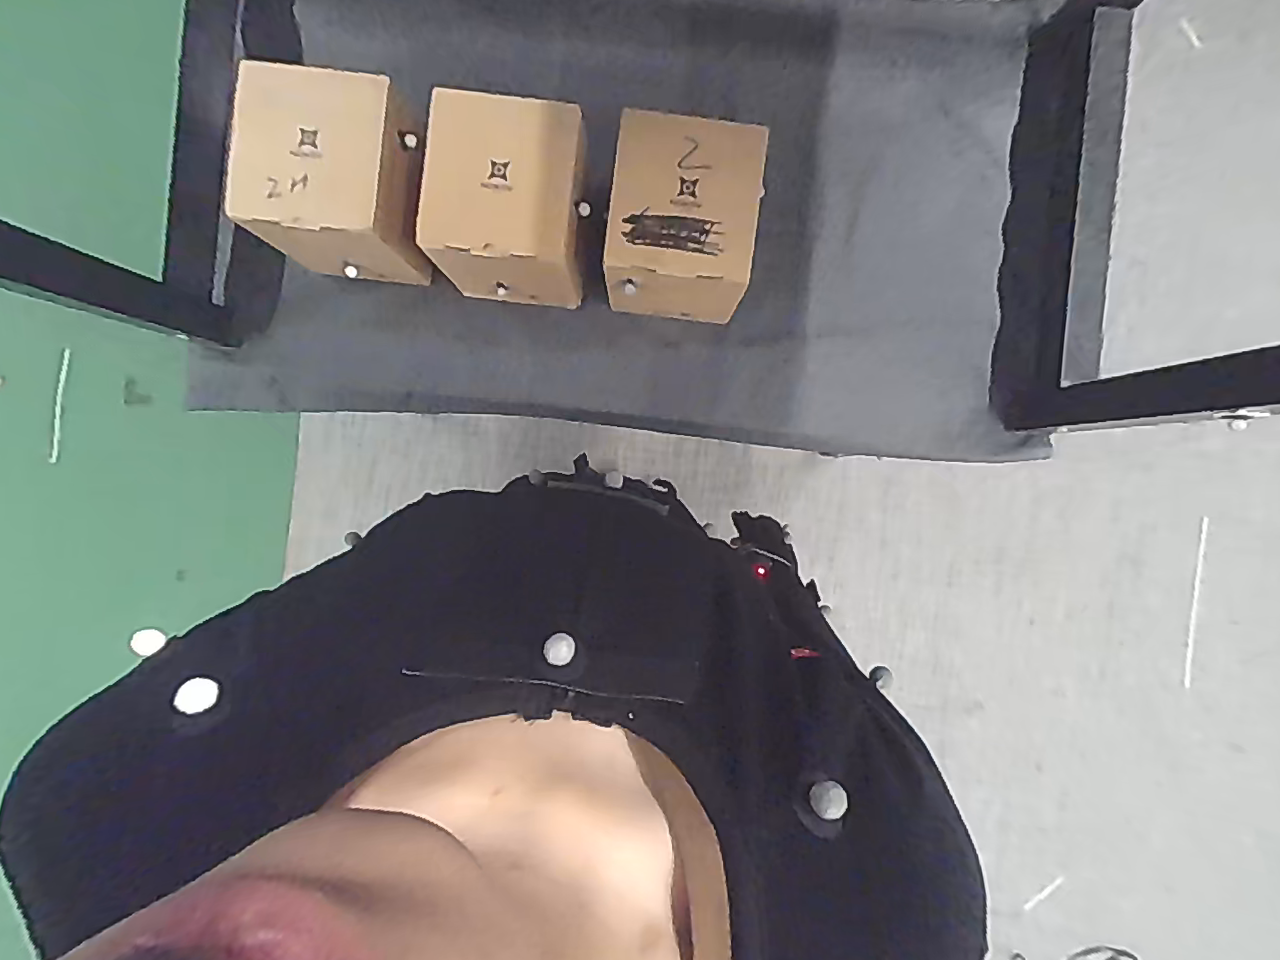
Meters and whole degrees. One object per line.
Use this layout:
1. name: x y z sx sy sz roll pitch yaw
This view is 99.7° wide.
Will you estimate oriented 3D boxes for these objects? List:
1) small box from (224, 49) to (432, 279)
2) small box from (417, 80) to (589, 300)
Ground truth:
1. small box: -0.363 -0.373 0.669 0.168 0.176 0.179 6 91 -1
2. small box: -0.157 -0.344 0.675 0.168 0.176 0.179 7 92 -1
